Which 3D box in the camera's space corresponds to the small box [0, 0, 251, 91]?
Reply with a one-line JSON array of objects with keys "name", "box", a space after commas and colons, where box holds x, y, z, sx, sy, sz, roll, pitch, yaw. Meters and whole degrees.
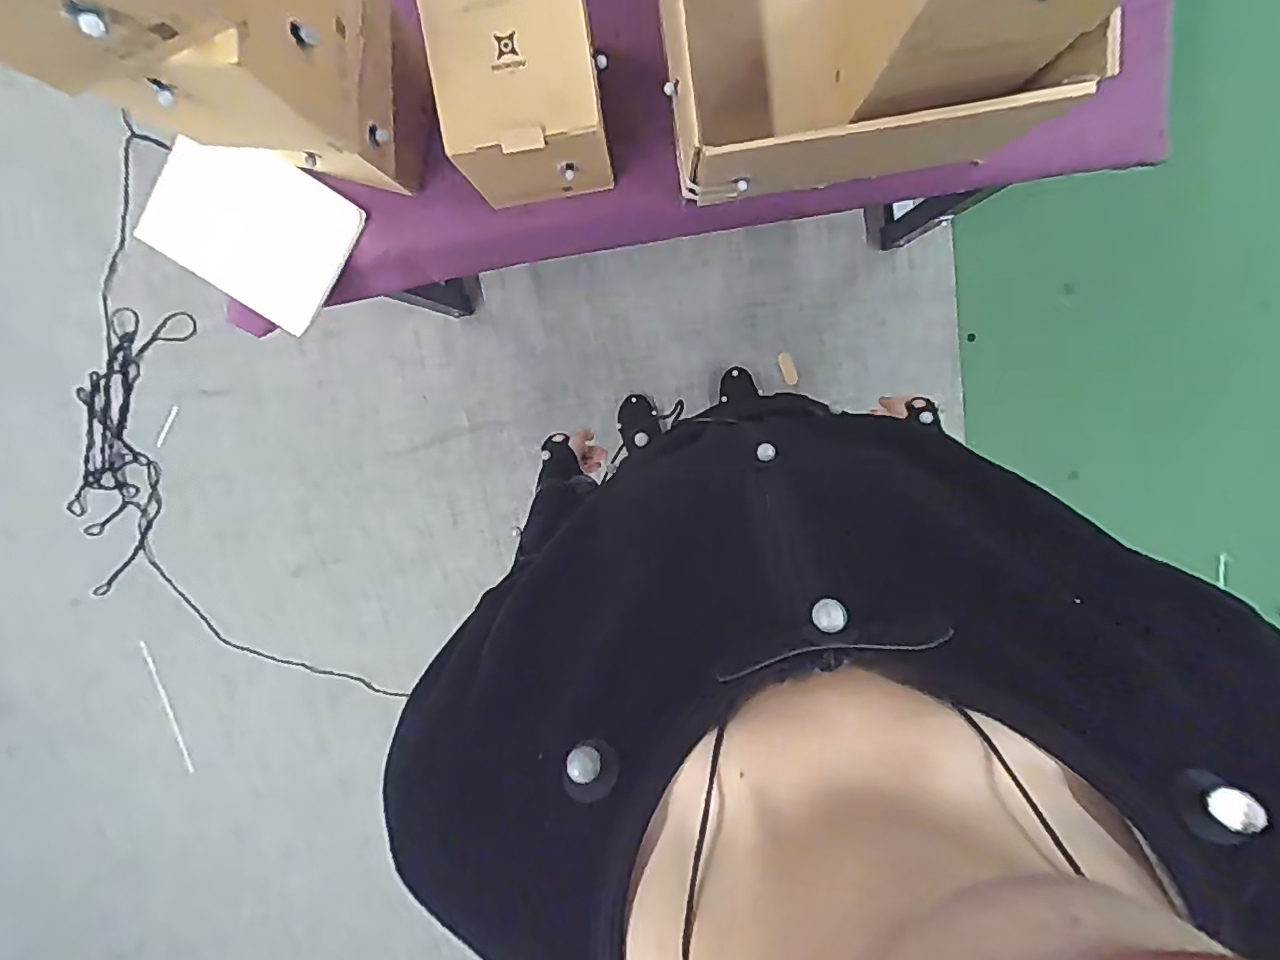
[{"name": "small box", "box": [-0.387, -0.384, 0.315, 0.168, 0.176, 0.179, -17, 99, 7]}]

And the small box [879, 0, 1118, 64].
[{"name": "small box", "box": [0.288, -0.441, 0.384, 0.179, 0.176, 0.168, -5, 100, 7]}]

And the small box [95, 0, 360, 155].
[{"name": "small box", "box": [-0.372, -0.411, 0.477, 0.179, 0.176, 0.168, 5, 100, 3]}]
